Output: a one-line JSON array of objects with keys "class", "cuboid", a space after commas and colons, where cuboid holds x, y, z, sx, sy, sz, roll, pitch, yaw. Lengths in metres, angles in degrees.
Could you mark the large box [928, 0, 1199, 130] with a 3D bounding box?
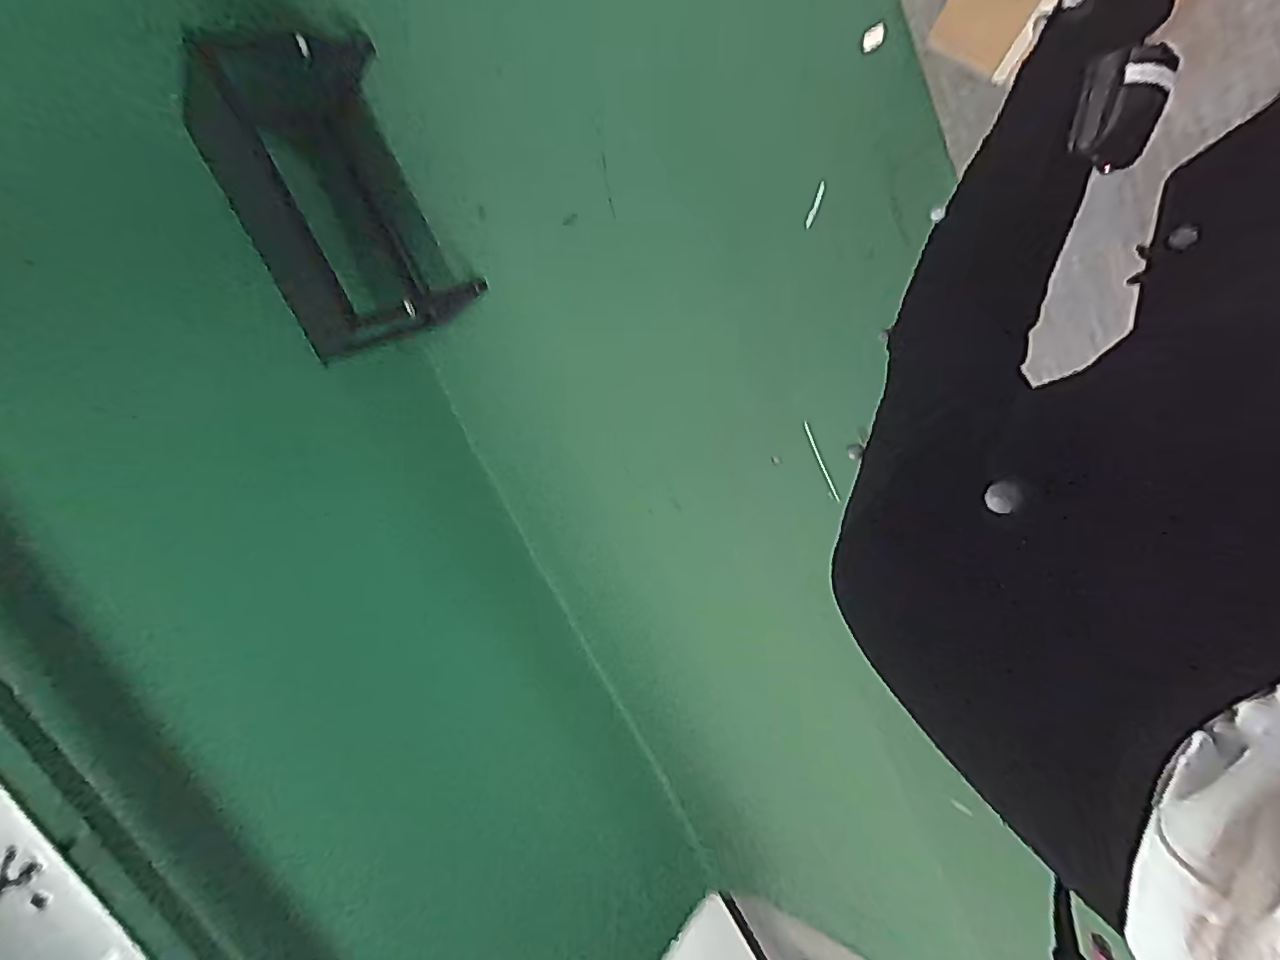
[{"class": "large box", "cuboid": [0.786, -0.881, 0.901, 0.320, 0.320, 0.408, 44, 142, 17]}]
